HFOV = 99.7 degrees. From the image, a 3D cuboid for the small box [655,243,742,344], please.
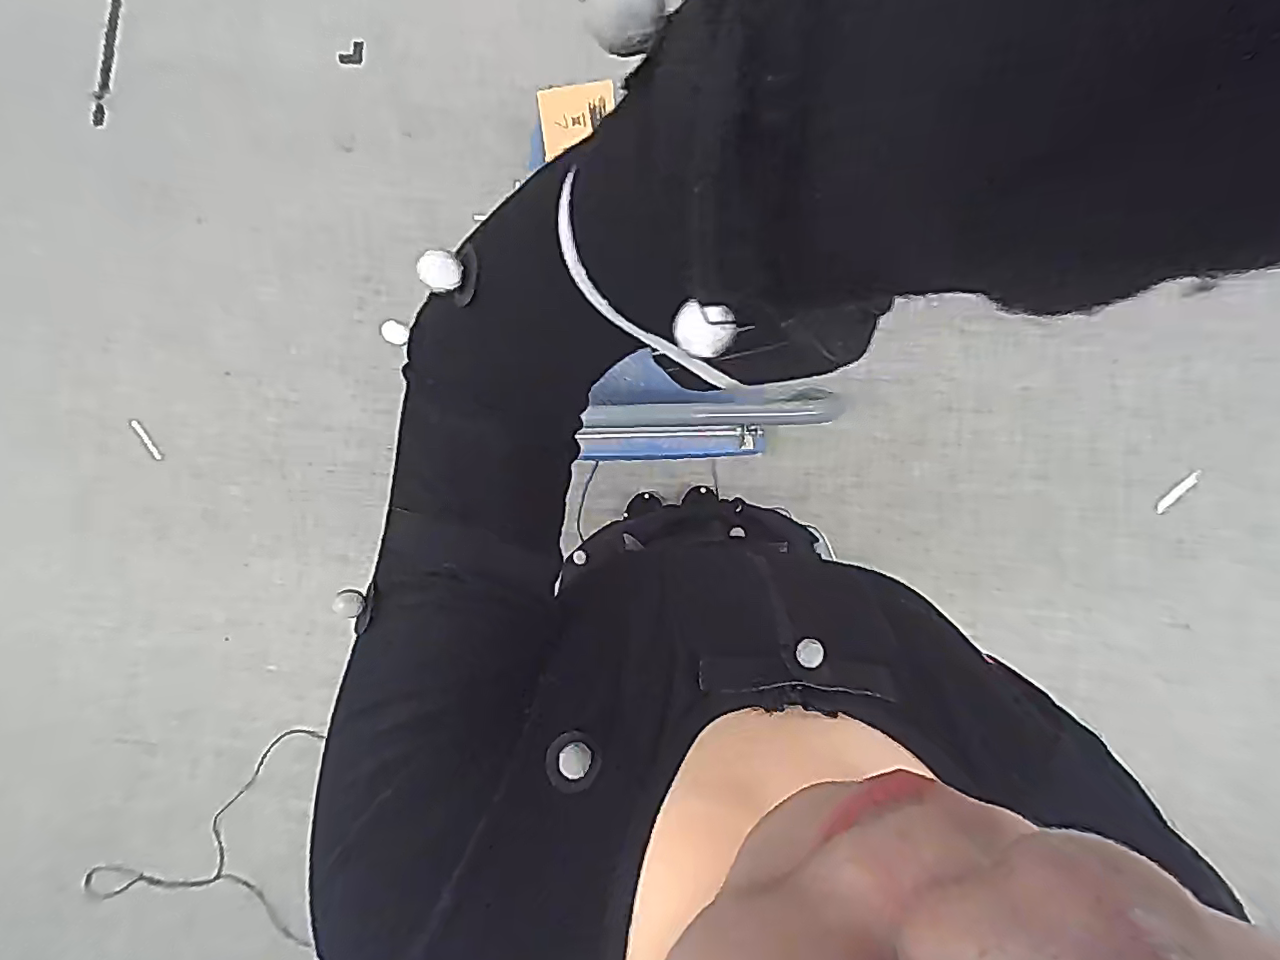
[{"bbox_3d":[0.131,-0.428,1.269,0.179,0.176,0.168,-8,88,1],"label":"small box"}]
